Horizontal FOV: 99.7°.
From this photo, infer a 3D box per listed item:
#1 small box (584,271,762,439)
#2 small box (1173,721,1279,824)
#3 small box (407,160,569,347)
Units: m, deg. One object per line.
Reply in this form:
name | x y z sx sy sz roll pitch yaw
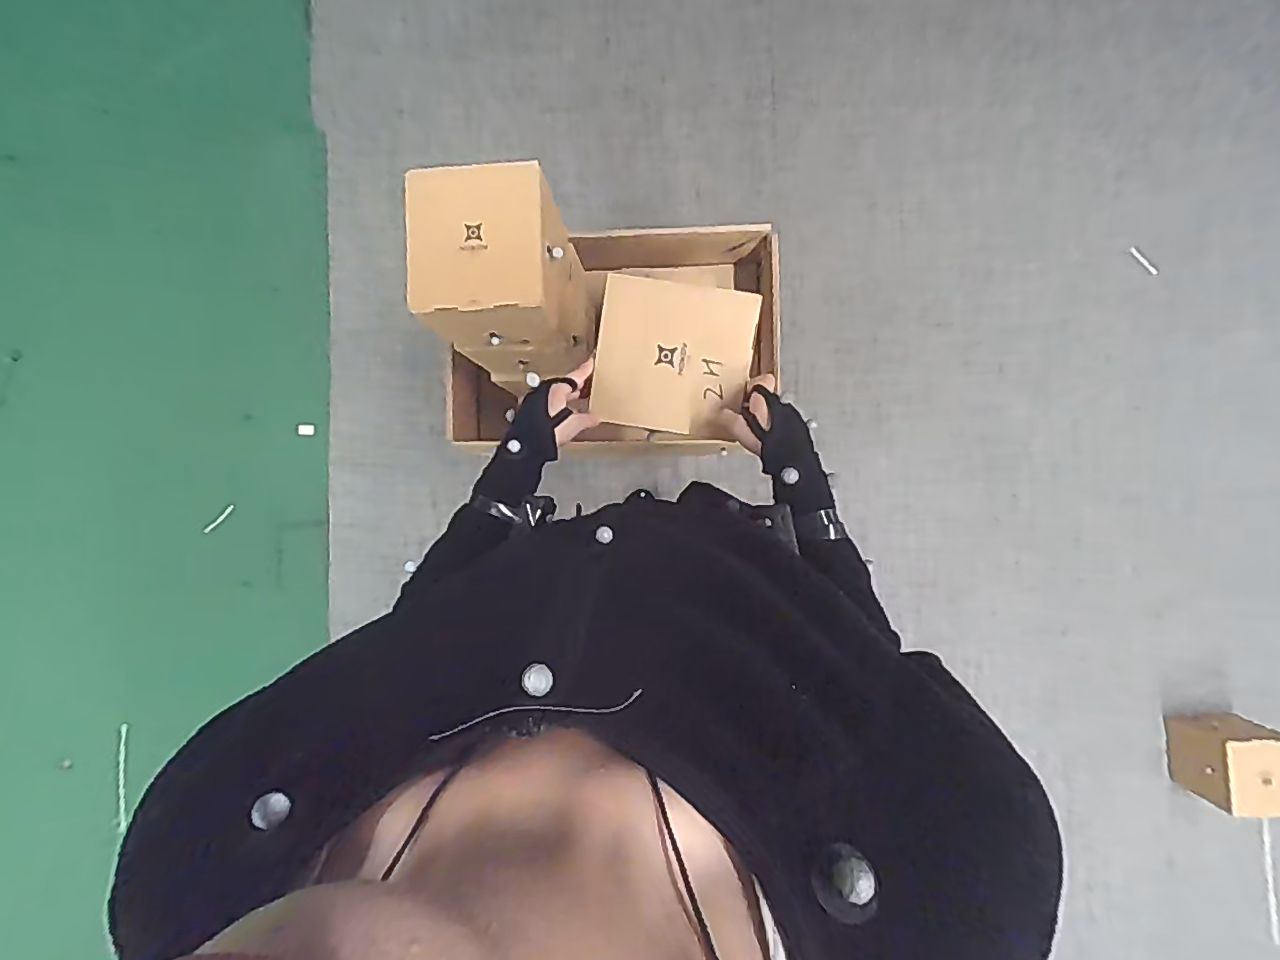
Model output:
small box | 0.039 -0.144 0.676 0.179 0.176 0.168 9 96 2
small box | 1.454 0.700 1.312 0.168 0.176 0.179 -3 88 5
small box | -0.192 -0.289 0.721 0.168 0.176 0.179 -2 89 4
